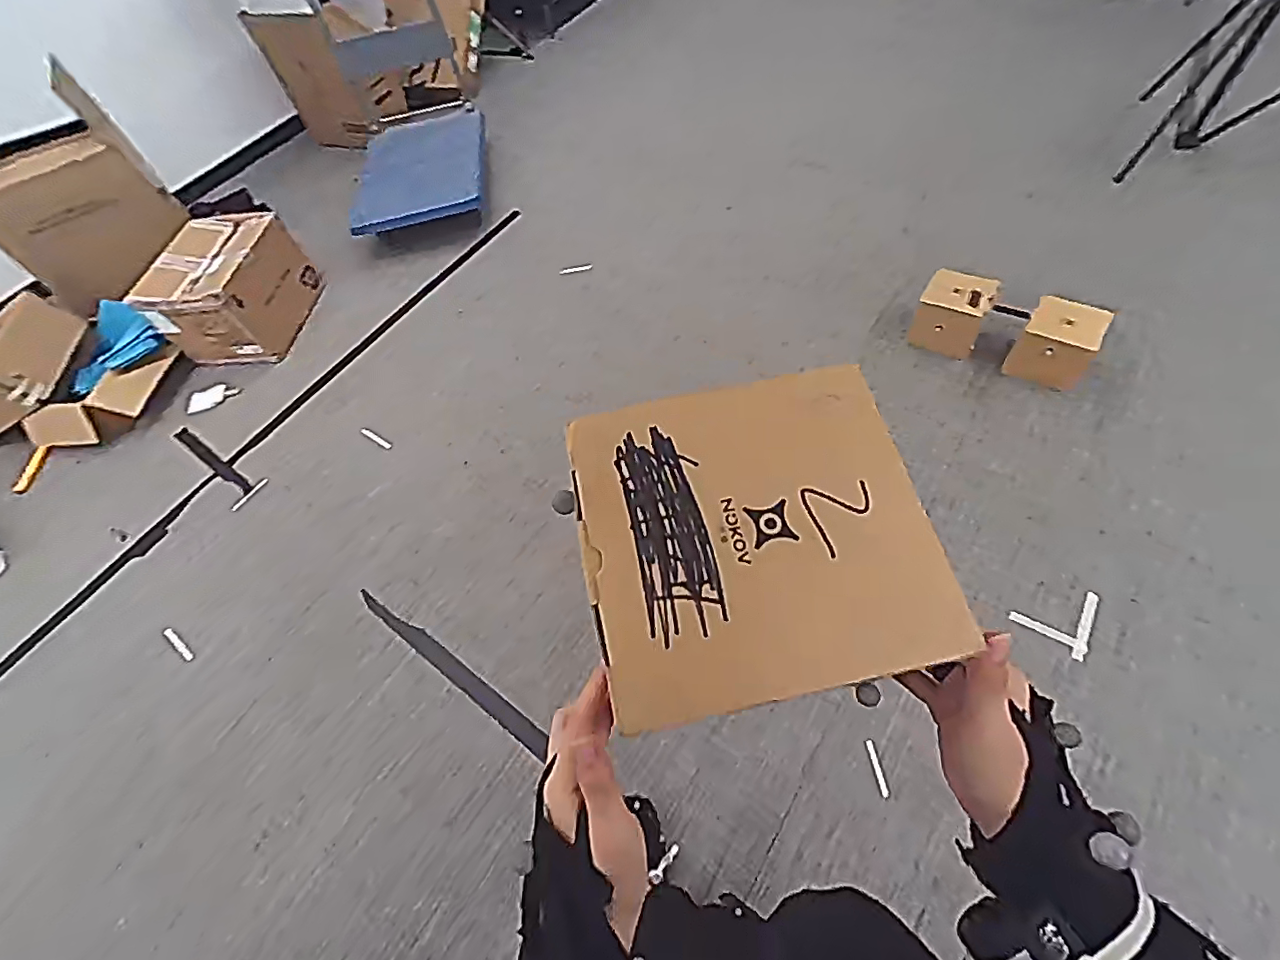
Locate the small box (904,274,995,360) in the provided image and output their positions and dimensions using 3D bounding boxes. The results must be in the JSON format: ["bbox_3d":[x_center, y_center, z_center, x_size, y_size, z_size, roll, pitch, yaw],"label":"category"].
[{"bbox_3d":[0.947,-0.497,1.669,0.179,0.176,0.168,27,66,25],"label":"small box"}]

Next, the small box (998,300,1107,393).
[{"bbox_3d":[1.178,-0.378,1.554,0.179,0.176,0.168,28,67,25],"label":"small box"}]
